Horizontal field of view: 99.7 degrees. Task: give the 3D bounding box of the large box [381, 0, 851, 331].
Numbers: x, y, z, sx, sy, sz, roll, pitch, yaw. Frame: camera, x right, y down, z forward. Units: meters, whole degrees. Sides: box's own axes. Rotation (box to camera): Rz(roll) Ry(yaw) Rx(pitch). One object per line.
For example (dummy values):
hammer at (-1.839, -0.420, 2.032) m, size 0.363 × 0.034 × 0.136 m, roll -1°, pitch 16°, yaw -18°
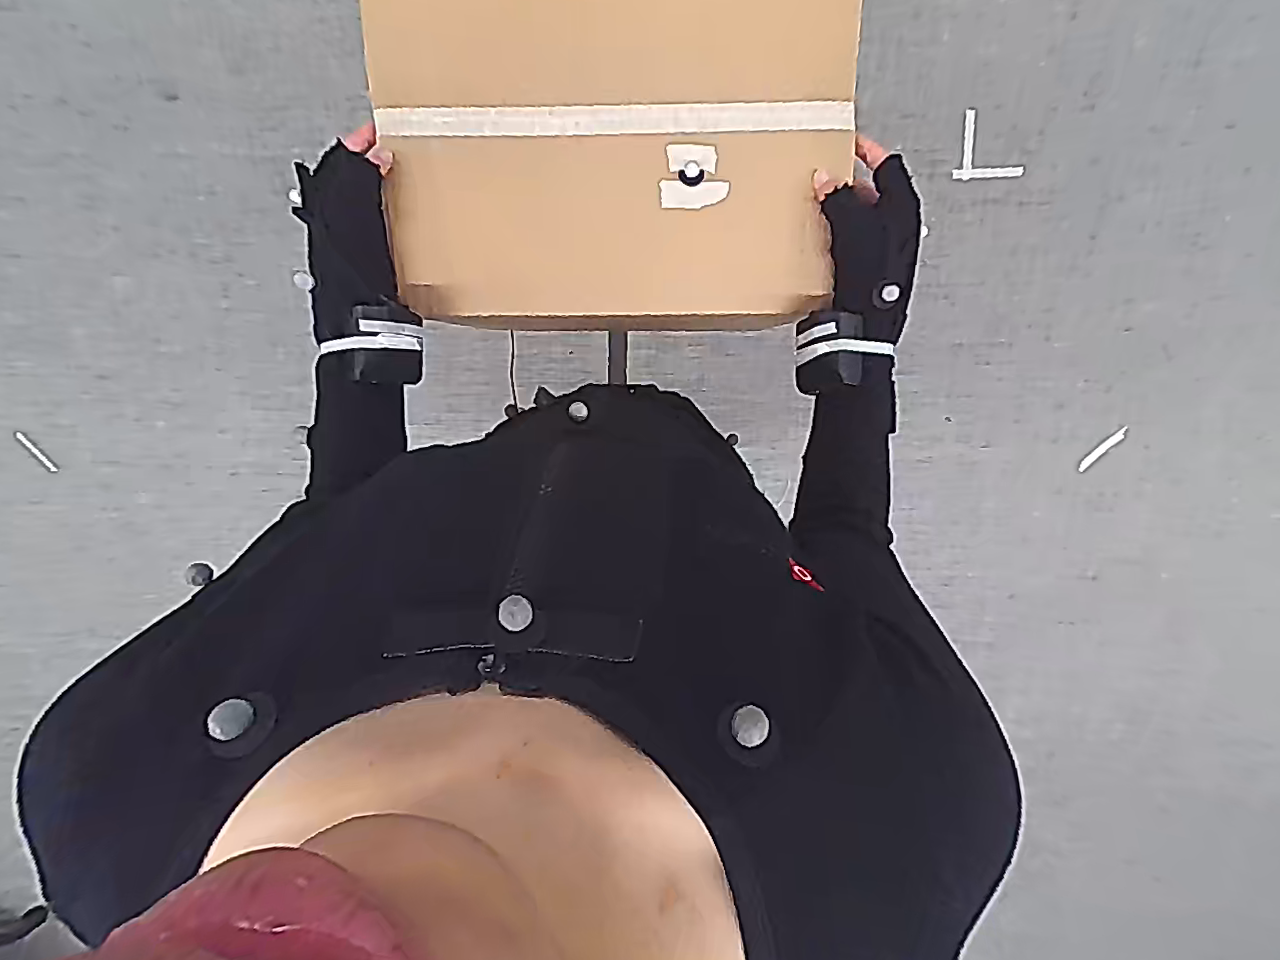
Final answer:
large box at (-0.020, -0.343, 0.618) m, size 0.408 × 0.320 × 0.320 m, roll 0°, pitch 103°, yaw 0°
